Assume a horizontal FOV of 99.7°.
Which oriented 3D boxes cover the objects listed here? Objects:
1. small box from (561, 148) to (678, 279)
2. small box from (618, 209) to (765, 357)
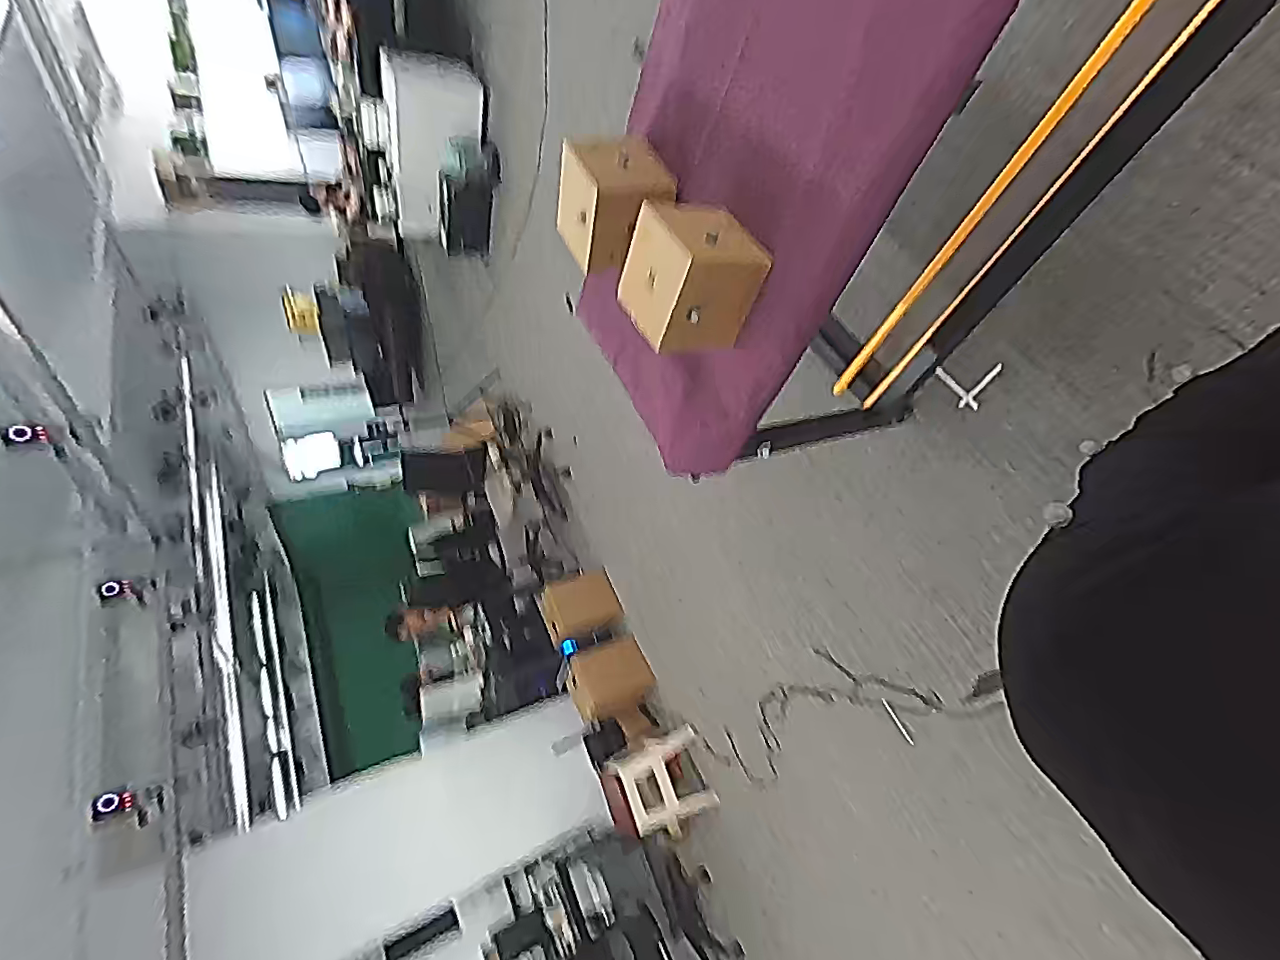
[{"bbox_3d":[-0.050,-0.530,1.068,0.176,0.168,0.179,63,156,26],"label":"small box"},{"bbox_3d":[0.088,-0.337,0.928,0.168,0.176,0.179,60,147,29],"label":"small box"}]
